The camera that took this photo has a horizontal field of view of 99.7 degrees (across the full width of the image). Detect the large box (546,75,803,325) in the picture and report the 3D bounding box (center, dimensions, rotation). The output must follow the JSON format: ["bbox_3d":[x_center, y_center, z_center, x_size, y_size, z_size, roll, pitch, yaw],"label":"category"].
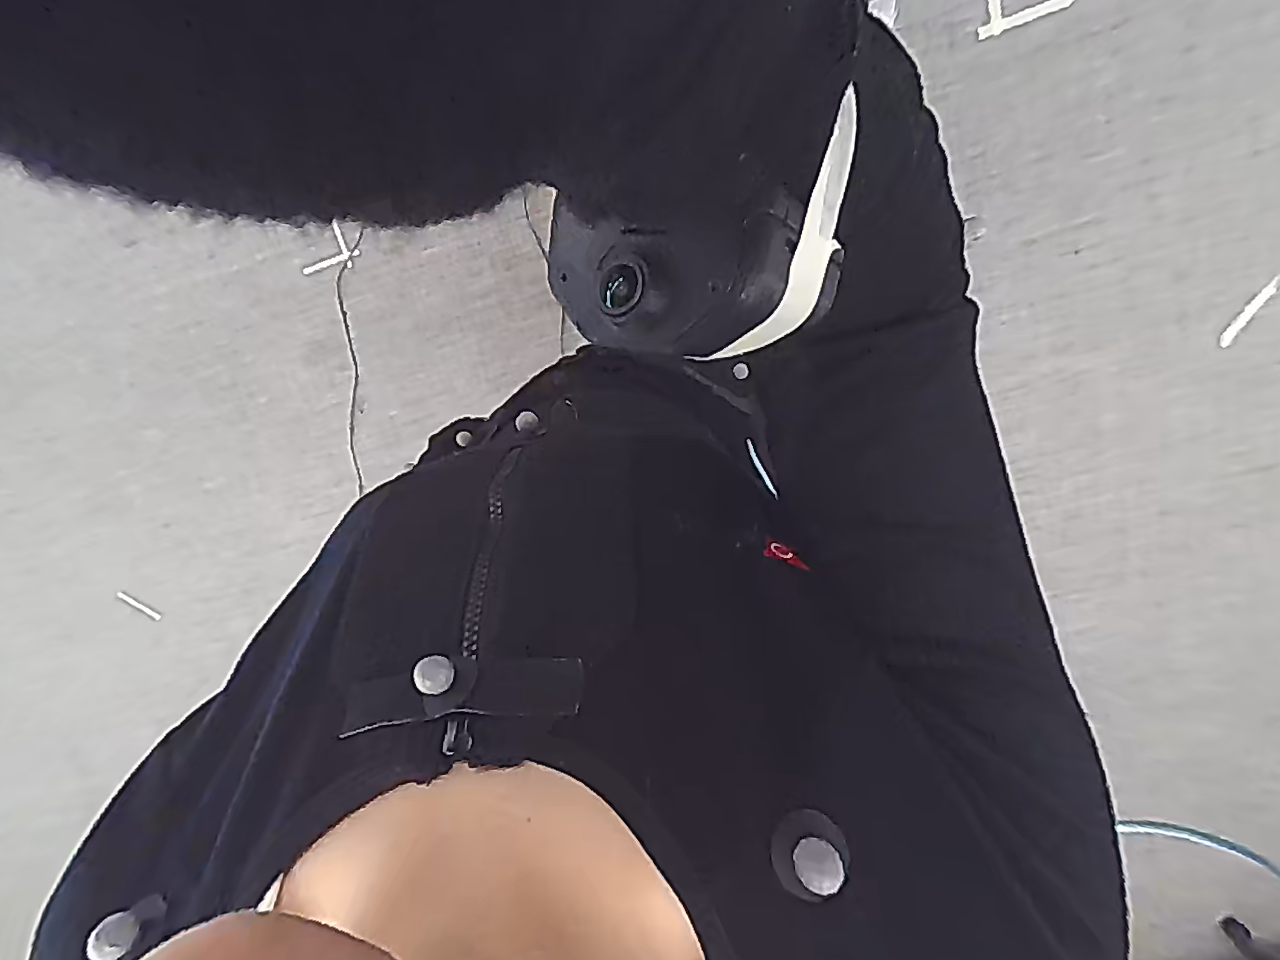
[{"bbox_3d":[0.071,-0.512,1.082,0.408,0.320,0.320,-11,105,7],"label":"large box"}]
